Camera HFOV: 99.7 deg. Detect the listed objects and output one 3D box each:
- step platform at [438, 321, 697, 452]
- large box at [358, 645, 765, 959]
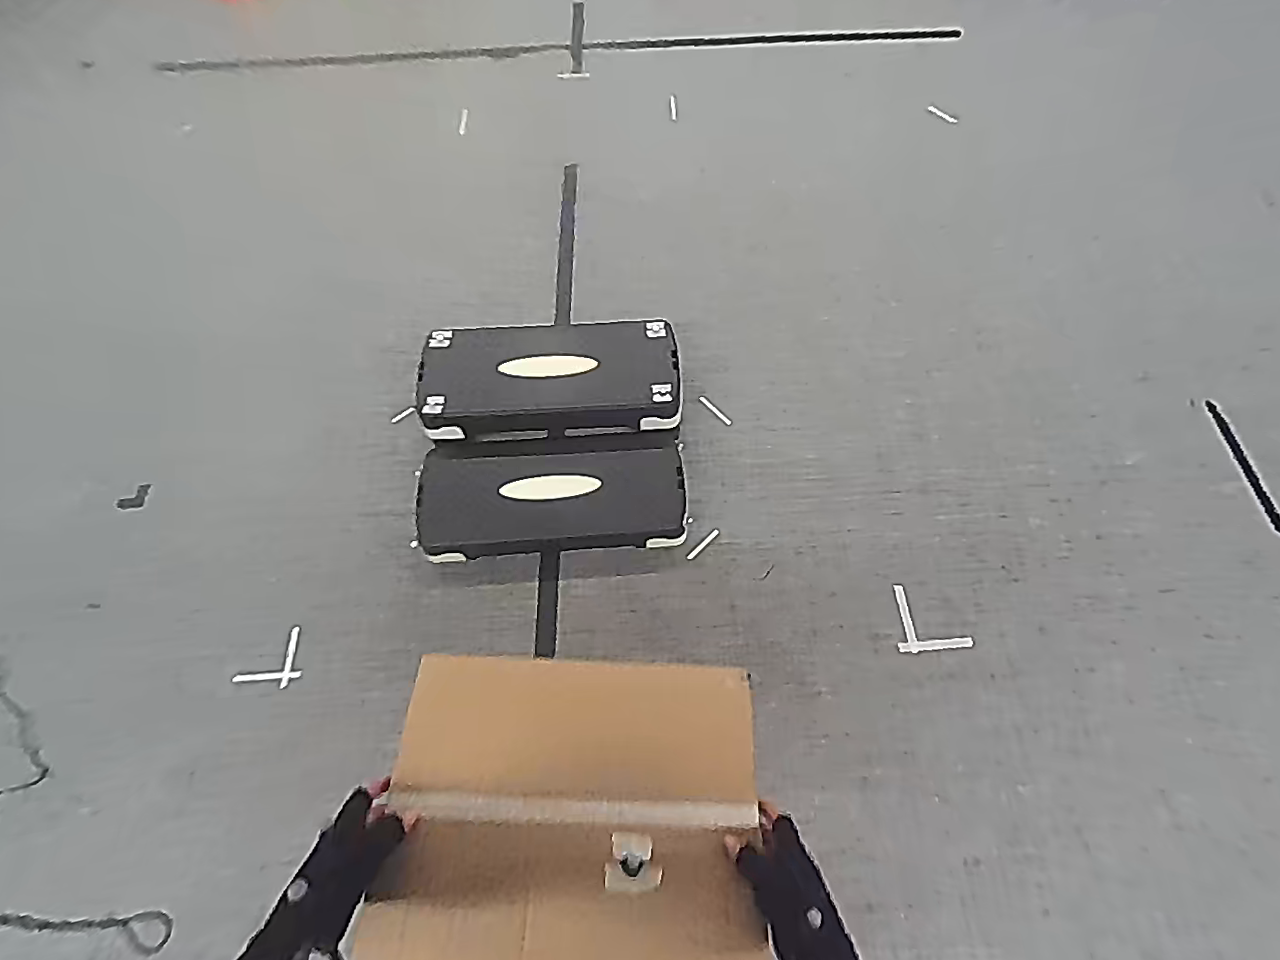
[{"bbox_3d":[-0.187,-0.257,1.472,0.684,0.204,0.286,-3,66,-1],"label":"step platform"},{"bbox_3d":[-0.078,0.423,0.725,0.408,0.320,0.320,3,59,0],"label":"large box"}]
